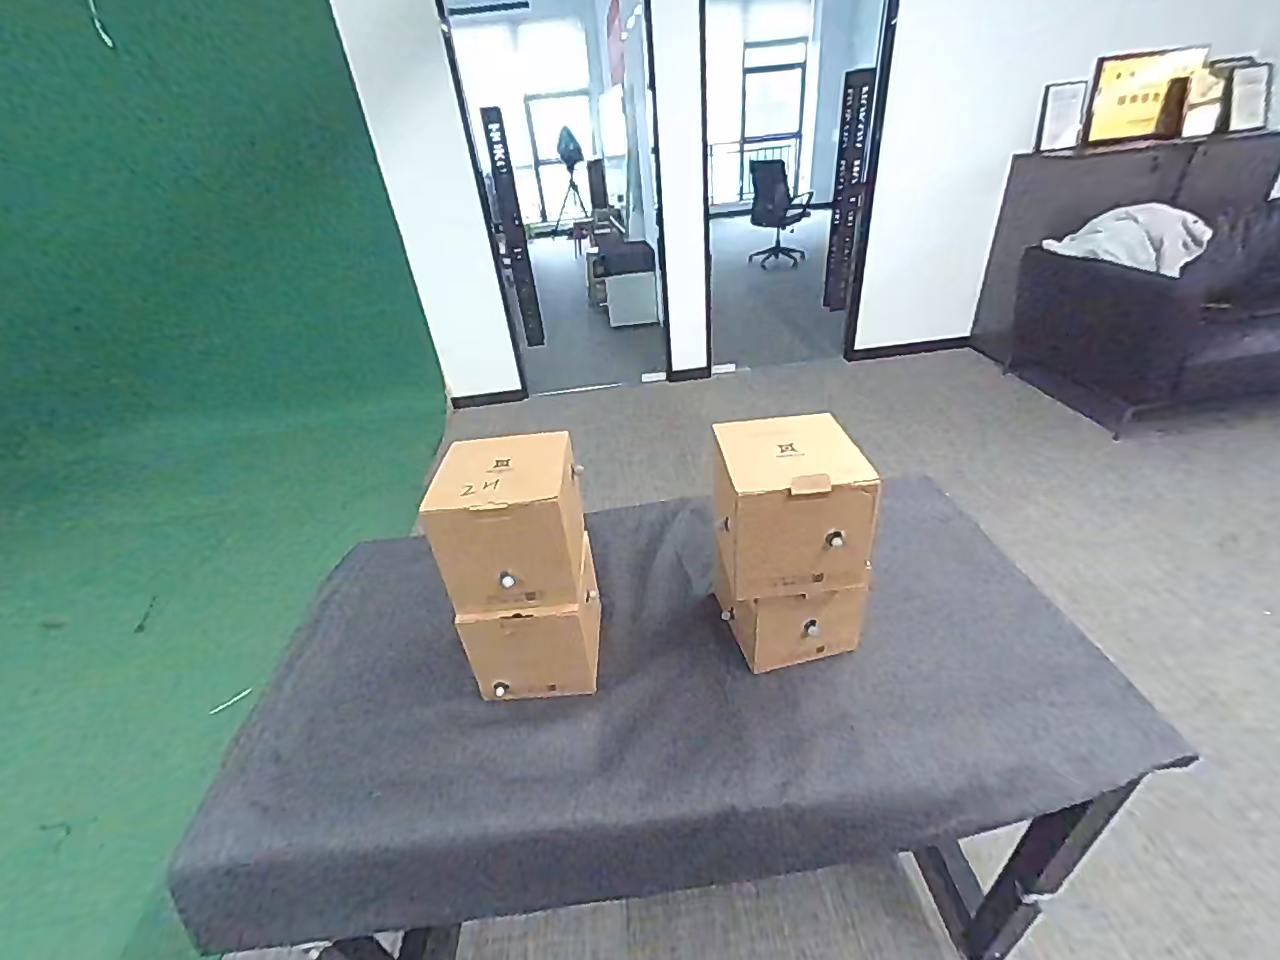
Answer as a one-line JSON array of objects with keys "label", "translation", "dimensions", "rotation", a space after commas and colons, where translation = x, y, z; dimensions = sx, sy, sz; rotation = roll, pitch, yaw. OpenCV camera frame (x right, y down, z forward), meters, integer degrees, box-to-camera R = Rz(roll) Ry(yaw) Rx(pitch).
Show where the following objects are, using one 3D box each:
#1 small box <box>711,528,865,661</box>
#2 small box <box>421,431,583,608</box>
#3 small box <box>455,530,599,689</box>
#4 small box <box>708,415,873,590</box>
[{"label": "small box", "translation": [0.215, 0.154, 0.826], "dimensions": [0.168, 0.176, 0.179], "rotation": [-11, 33, -8]}, {"label": "small box", "translation": [-0.172, 0.050, 0.741], "dimensions": [0.168, 0.176, 0.179], "rotation": [-6, 32, 1]}, {"label": "small box", "translation": [-0.155, 0.197, 0.816], "dimensions": [0.168, 0.176, 0.179], "rotation": [-4, 32, 2]}, {"label": "small box", "translation": [0.186, 0.031, 0.718], "dimensions": [0.168, 0.176, 0.179], "rotation": [-5, 31, 0]}]
